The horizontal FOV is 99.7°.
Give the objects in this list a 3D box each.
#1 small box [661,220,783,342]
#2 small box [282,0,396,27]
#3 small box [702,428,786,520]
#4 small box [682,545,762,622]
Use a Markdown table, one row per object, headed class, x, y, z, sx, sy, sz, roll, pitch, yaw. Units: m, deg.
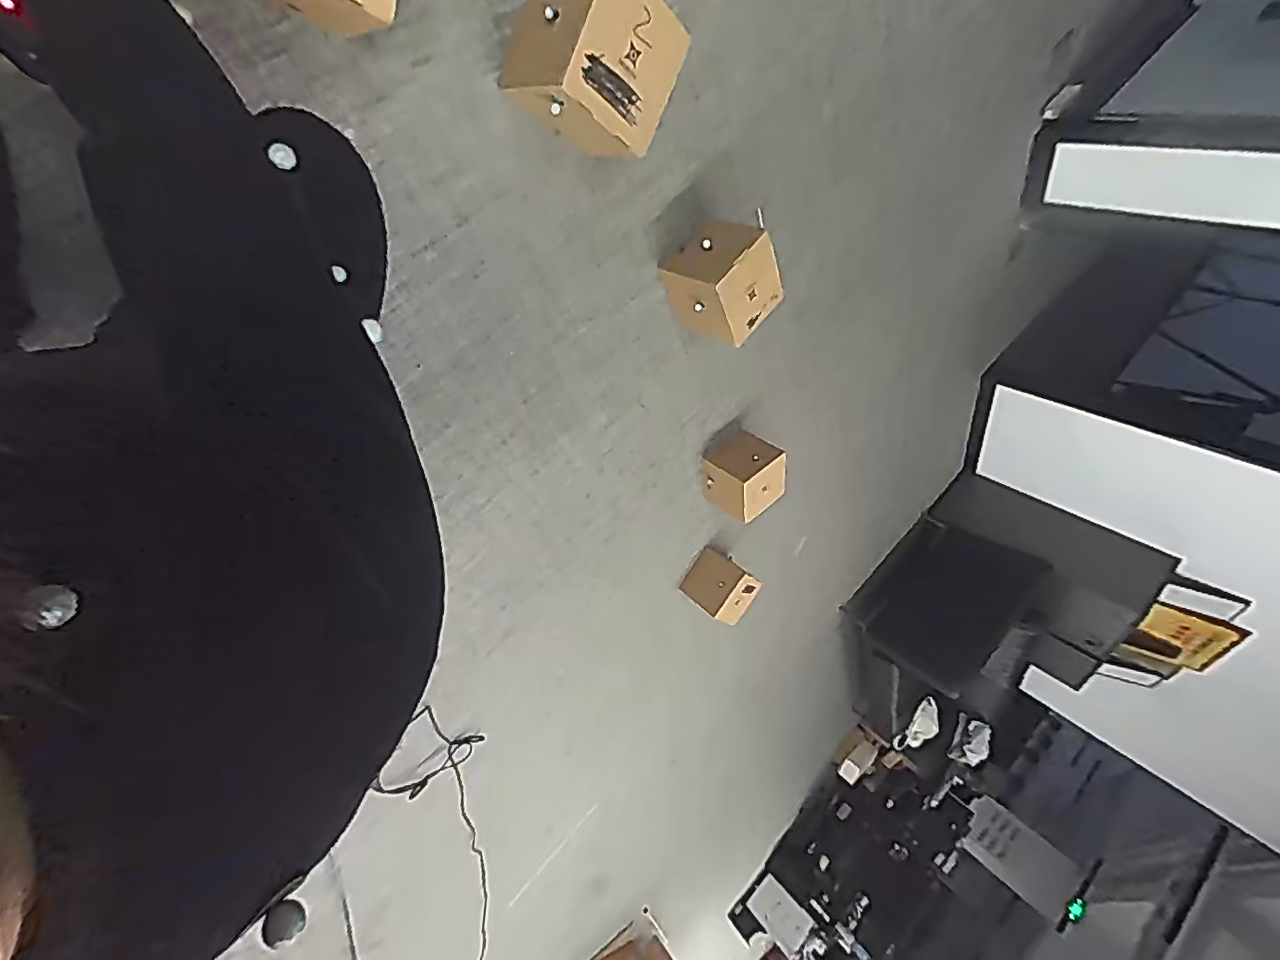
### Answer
| class | x | y | z | sx | sy | sz | roll | pitch | yaw |
| --- | --- | --- | --- | --- | --- | --- | --- | --- | --- |
| small box | 0.173 | -0.429 | 1.149 | 0.168 | 0.176 | 0.179 | -48 | 140 | -9 |
| small box | -0.337 | -0.582 | 0.518 | 0.168 | 0.176 | 0.179 | -2 | 118 | -45 |
| small box | 0.301 | -0.024 | 1.573 | 0.179 | 0.176 | 0.168 | -34 | 136 | -24 |
| small box | 0.271 | 0.341 | 1.802 | 0.179 | 0.176 | 0.168 | -55 | 141 | 0 |
